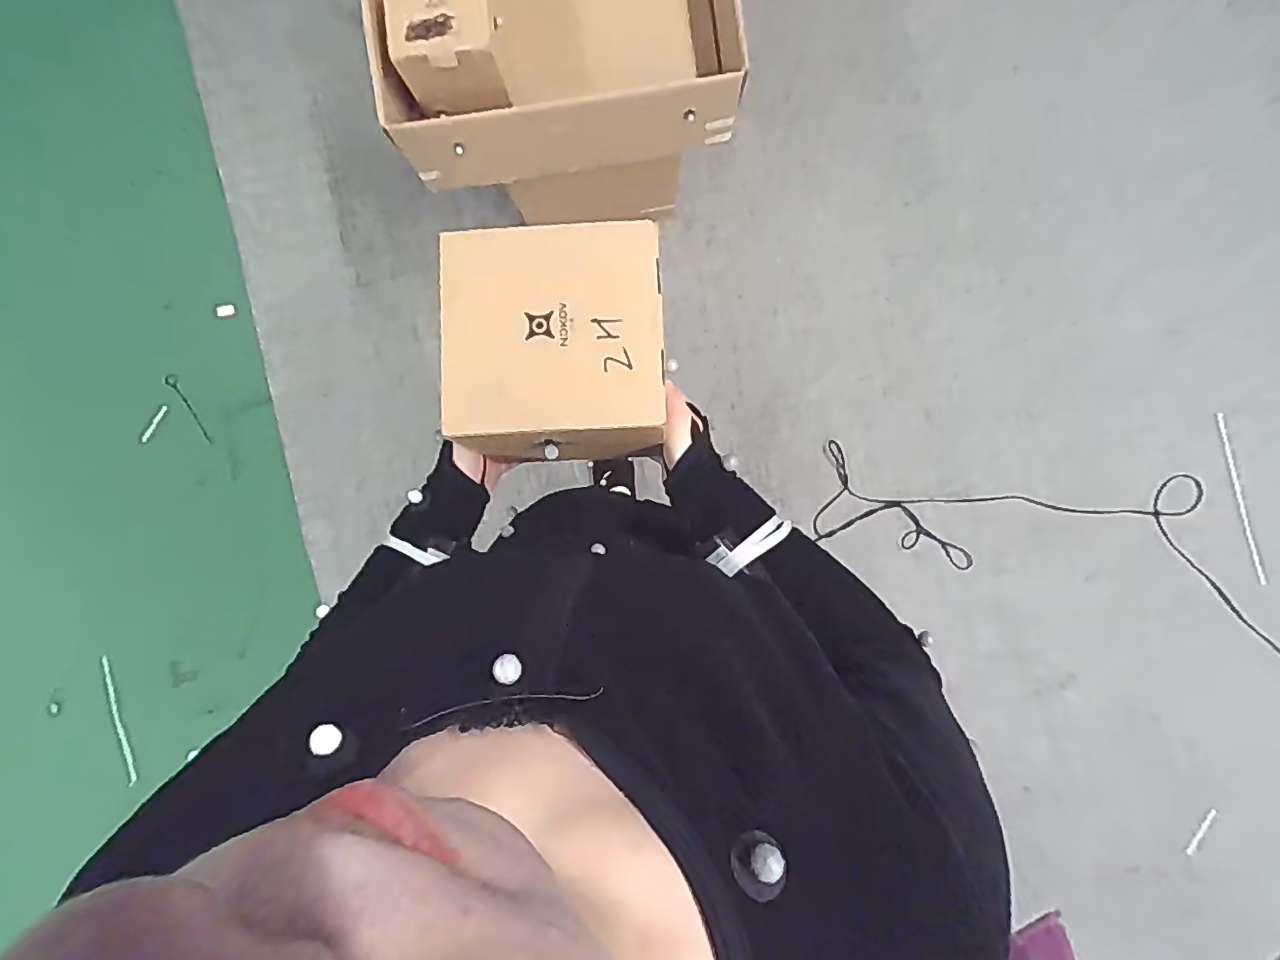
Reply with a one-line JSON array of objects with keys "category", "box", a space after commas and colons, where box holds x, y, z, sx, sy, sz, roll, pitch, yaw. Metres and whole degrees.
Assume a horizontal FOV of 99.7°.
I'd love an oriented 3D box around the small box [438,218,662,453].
[{"category": "small box", "box": [-0.069, -0.117, 0.501, 0.179, 0.176, 0.168, -2, 86, 0]}]
